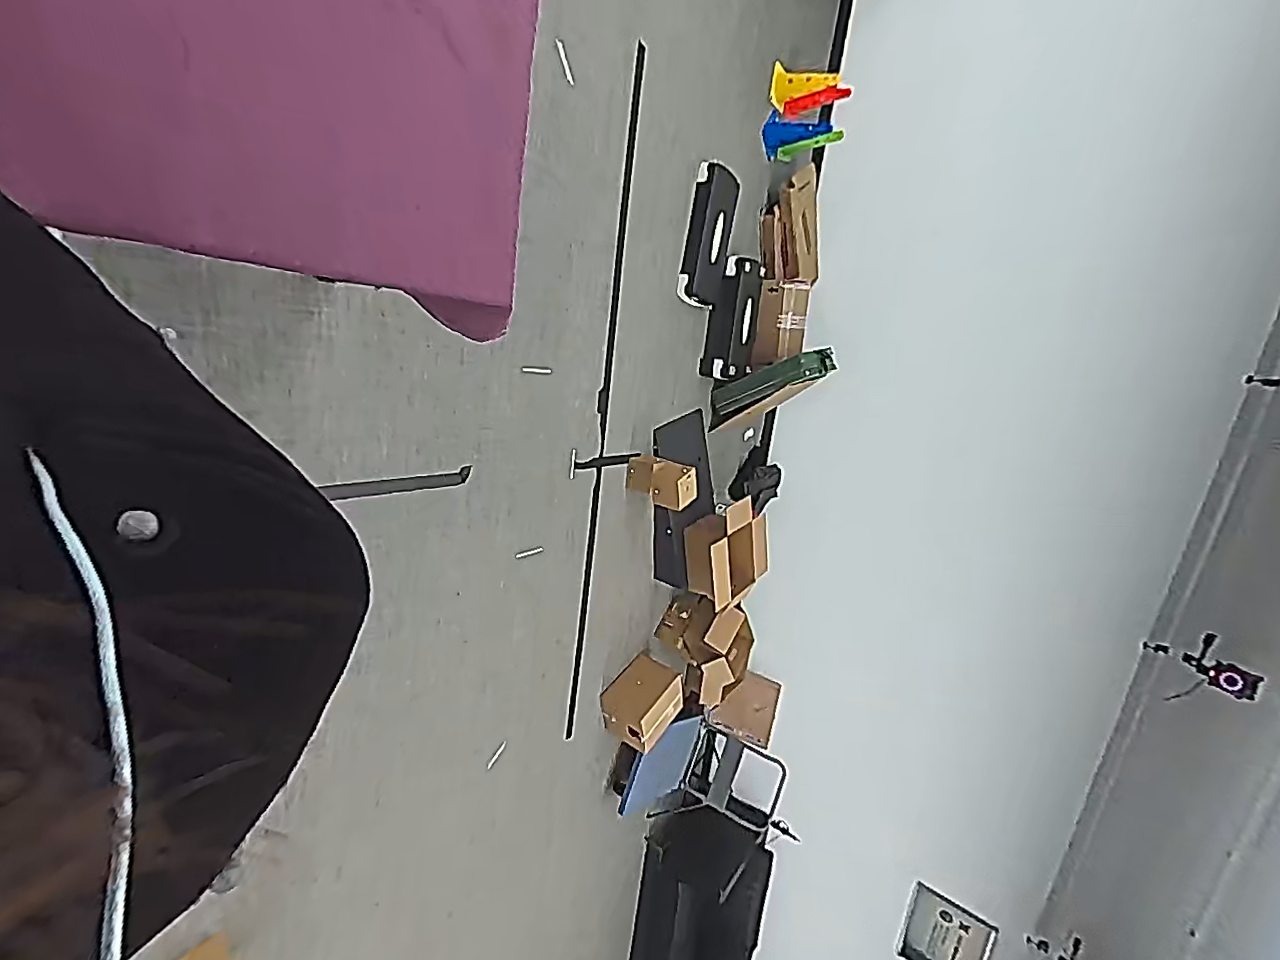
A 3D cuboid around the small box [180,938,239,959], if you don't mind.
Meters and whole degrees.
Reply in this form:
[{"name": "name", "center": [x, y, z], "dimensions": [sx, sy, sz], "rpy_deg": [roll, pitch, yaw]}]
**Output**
[{"name": "small box", "center": [-1.307, 1.526, 1.608], "dimensions": [0.168, 0.176, 0.179], "rpy_deg": [-10, 113, -54]}]
